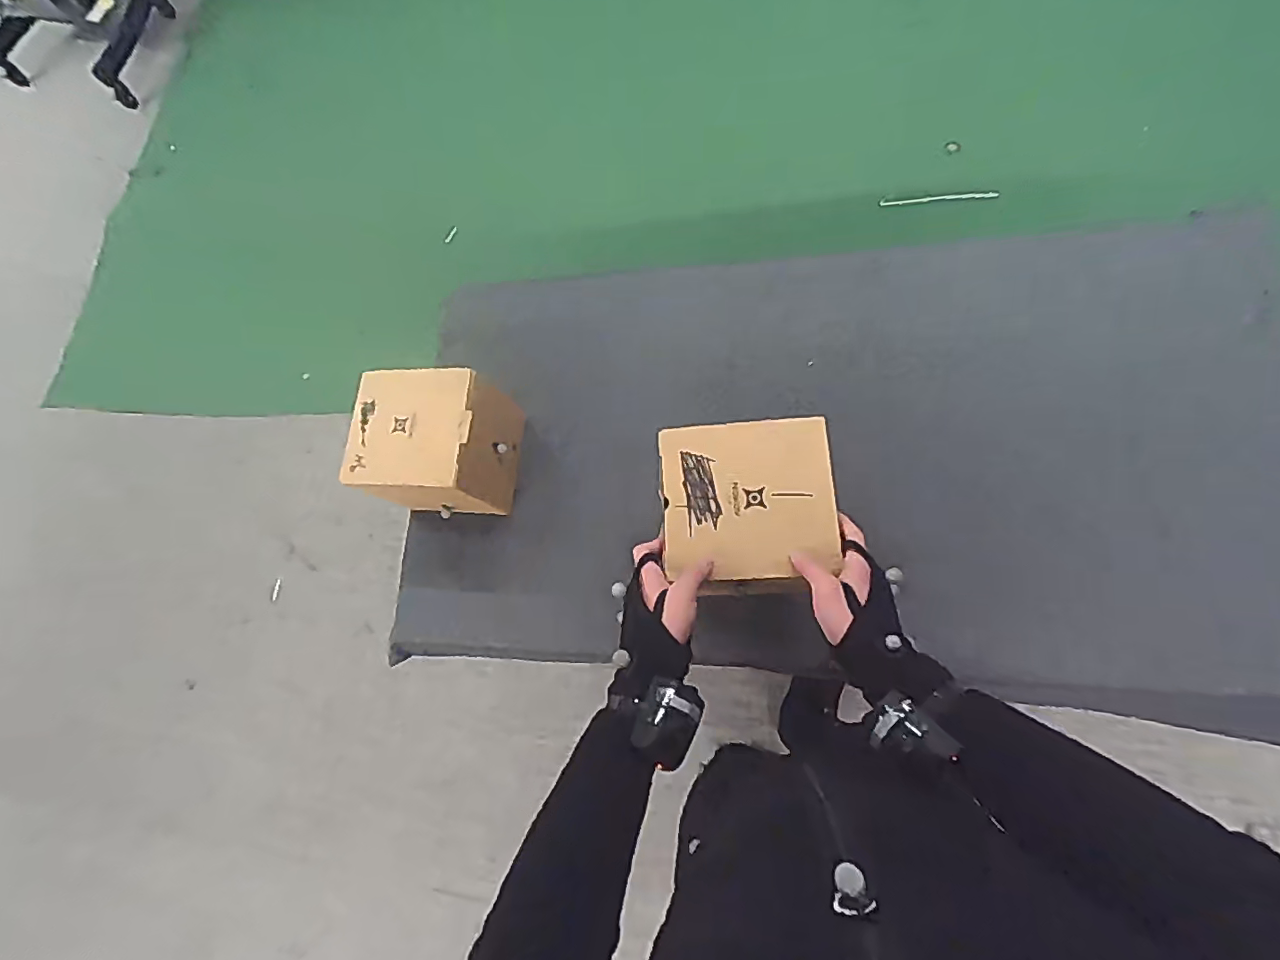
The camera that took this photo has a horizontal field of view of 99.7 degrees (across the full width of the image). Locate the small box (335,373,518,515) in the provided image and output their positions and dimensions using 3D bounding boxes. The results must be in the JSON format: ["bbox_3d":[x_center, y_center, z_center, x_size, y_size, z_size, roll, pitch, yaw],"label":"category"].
[{"bbox_3d":[-0.297,-0.045,0.791,0.179,0.176,0.168,2,75,13],"label":"small box"}]

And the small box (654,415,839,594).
[{"bbox_3d":[0.115,0.039,0.619,0.179,0.176,0.168,-4,73,8],"label":"small box"}]
